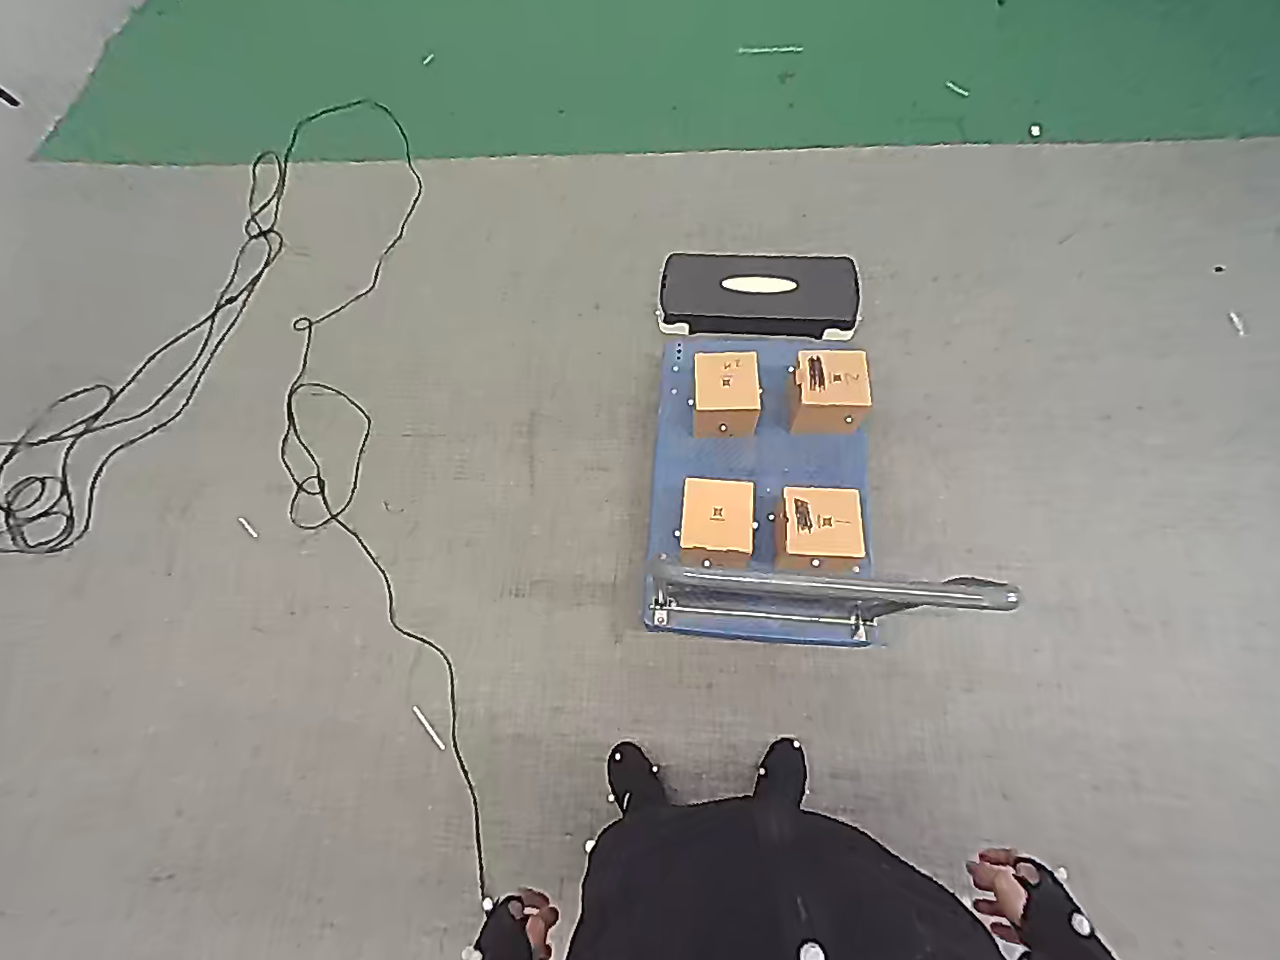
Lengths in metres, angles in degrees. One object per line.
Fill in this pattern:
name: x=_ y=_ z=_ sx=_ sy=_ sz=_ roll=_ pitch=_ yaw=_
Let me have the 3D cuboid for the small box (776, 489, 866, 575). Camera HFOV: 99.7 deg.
small box: x=0.431 y=0.132 z=1.318 sx=0.179 sy=0.176 sz=0.168 roll=3 pitch=68 yaw=4

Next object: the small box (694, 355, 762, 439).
small box: x=0.236 y=-0.220 z=1.478 sx=0.168 sy=0.176 sz=0.179 roll=0 pitch=68 yaw=3

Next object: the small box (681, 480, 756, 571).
small box: x=0.191 y=0.116 z=1.342 sx=0.168 sy=0.176 sz=0.179 roll=5 pitch=68 yaw=4
